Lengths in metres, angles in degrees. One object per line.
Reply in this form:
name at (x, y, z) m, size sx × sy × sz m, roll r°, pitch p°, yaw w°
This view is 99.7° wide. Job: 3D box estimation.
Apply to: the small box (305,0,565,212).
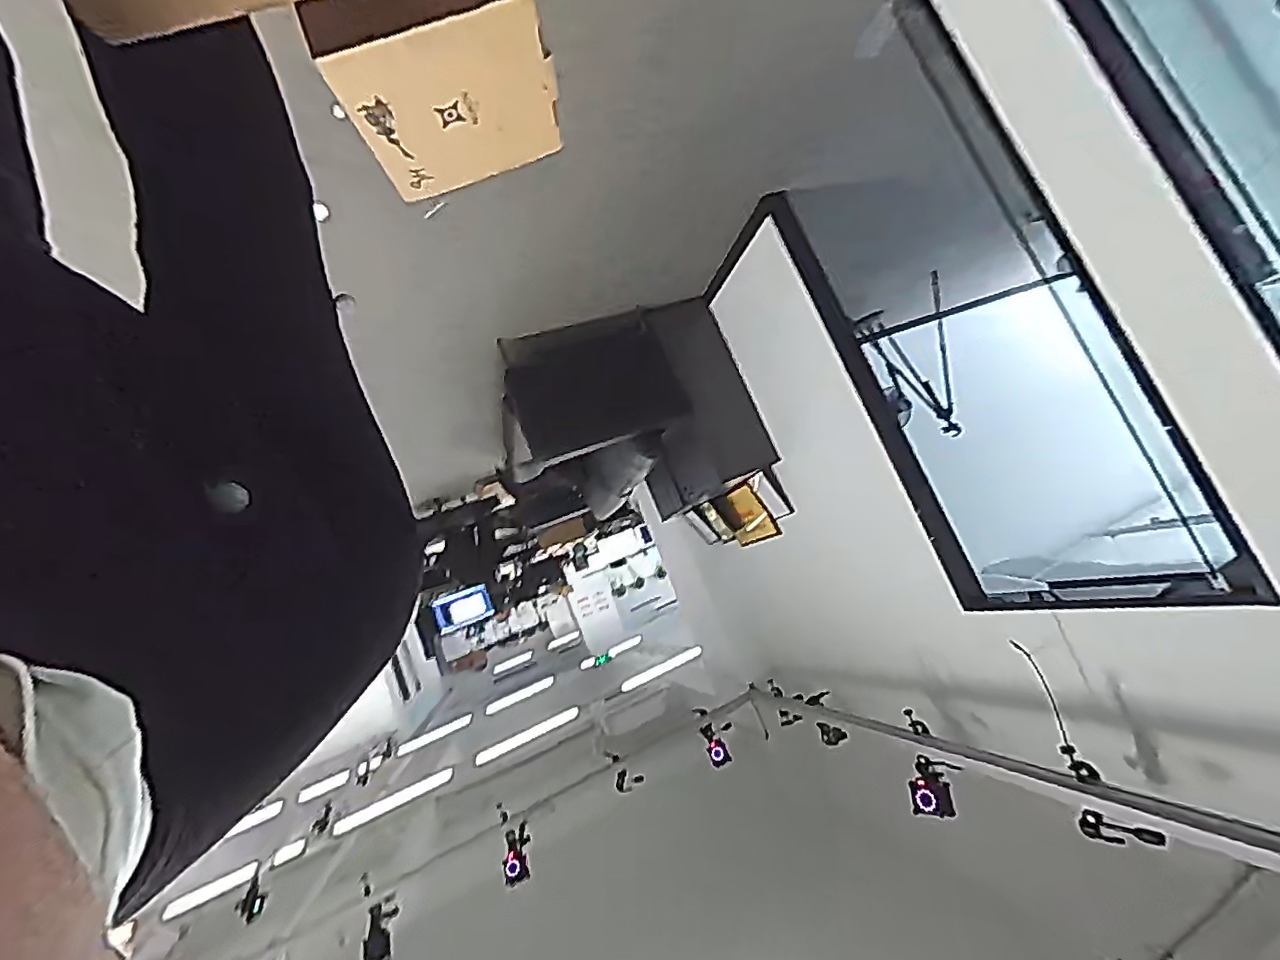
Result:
small box at (-0.187, -0.393, 0.492) m, size 0.179 × 0.176 × 0.168 m, roll -22°, pitch 172°, yaw -4°
